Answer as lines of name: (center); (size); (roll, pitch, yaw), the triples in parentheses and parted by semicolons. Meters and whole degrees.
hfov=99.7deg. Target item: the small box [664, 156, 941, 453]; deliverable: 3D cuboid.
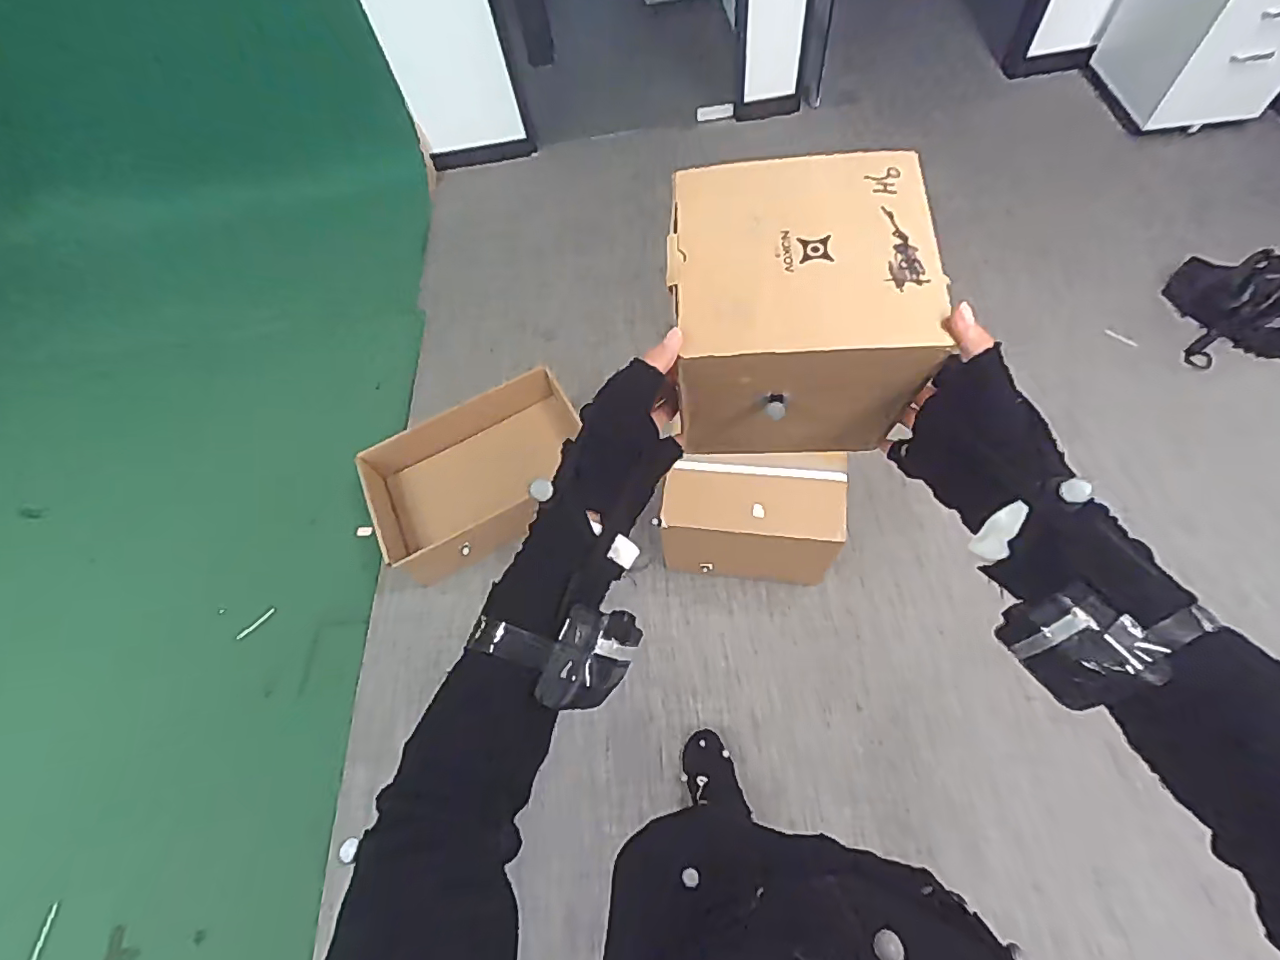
small box: (0.115, -0.128, 0.449); (0.179, 0.176, 0.168); (-2, 70, 7)
